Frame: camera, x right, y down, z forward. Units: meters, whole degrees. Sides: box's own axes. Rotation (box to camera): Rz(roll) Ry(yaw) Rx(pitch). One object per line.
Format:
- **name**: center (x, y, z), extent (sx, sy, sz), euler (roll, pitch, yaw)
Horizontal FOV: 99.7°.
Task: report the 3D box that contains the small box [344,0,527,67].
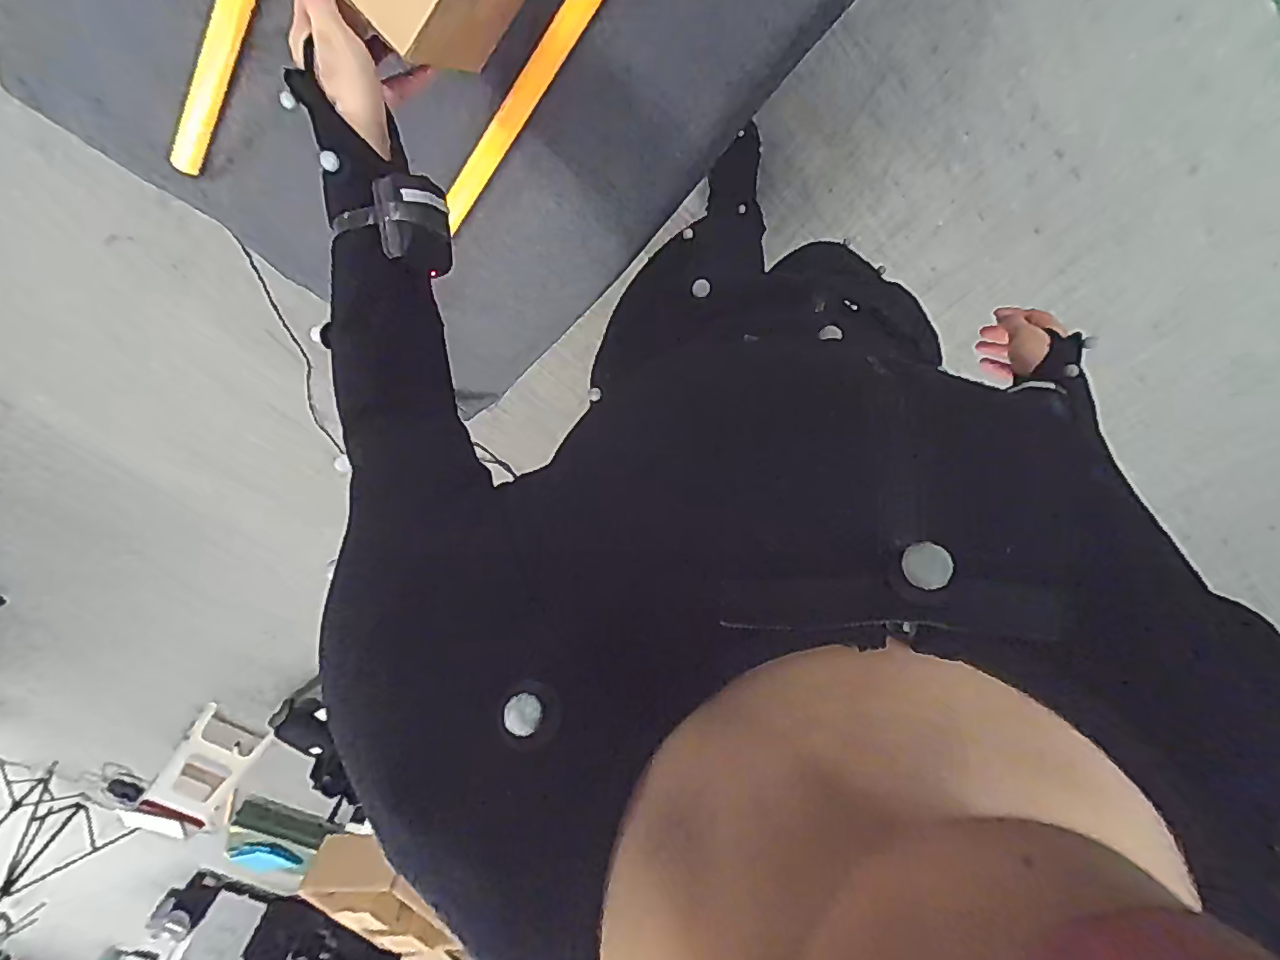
- **small box**: center (-0.160, -0.450, 0.402), extent (0.179, 0.176, 0.168), euler (-38, 114, 27)
